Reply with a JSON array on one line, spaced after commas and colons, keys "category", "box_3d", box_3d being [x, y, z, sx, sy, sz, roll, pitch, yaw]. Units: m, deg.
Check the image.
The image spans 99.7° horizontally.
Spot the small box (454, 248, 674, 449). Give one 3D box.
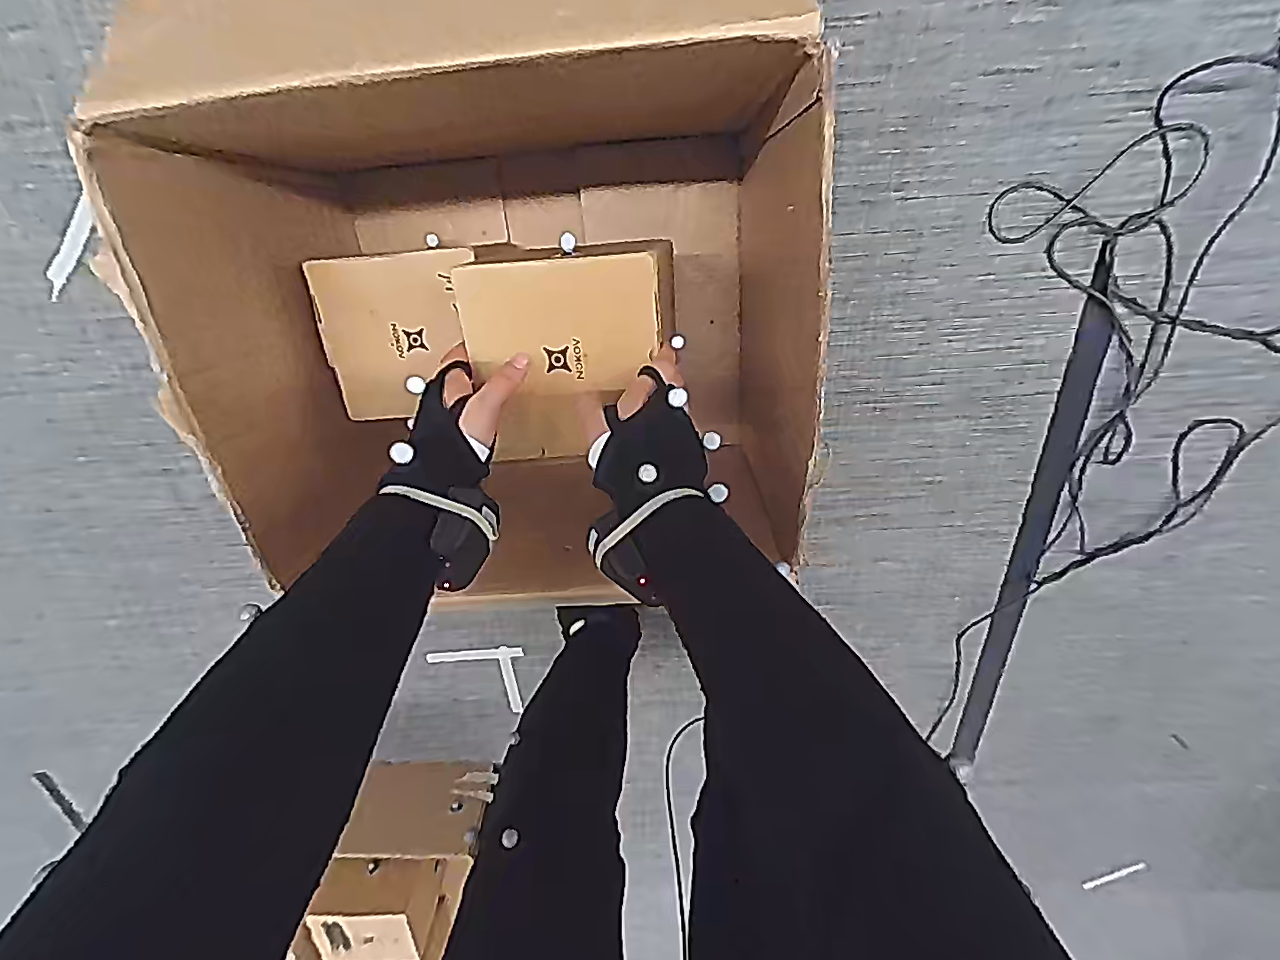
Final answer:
[{"category": "small box", "box_3d": [-0.060, -0.140, 0.555, 0.179, 0.176, 0.168, -2, 117, 7]}]

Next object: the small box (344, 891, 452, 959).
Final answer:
[{"category": "small box", "box_3d": [-0.509, 1.014, 1.146, 0.168, 0.176, 0.179, 0, 113, -3]}]
